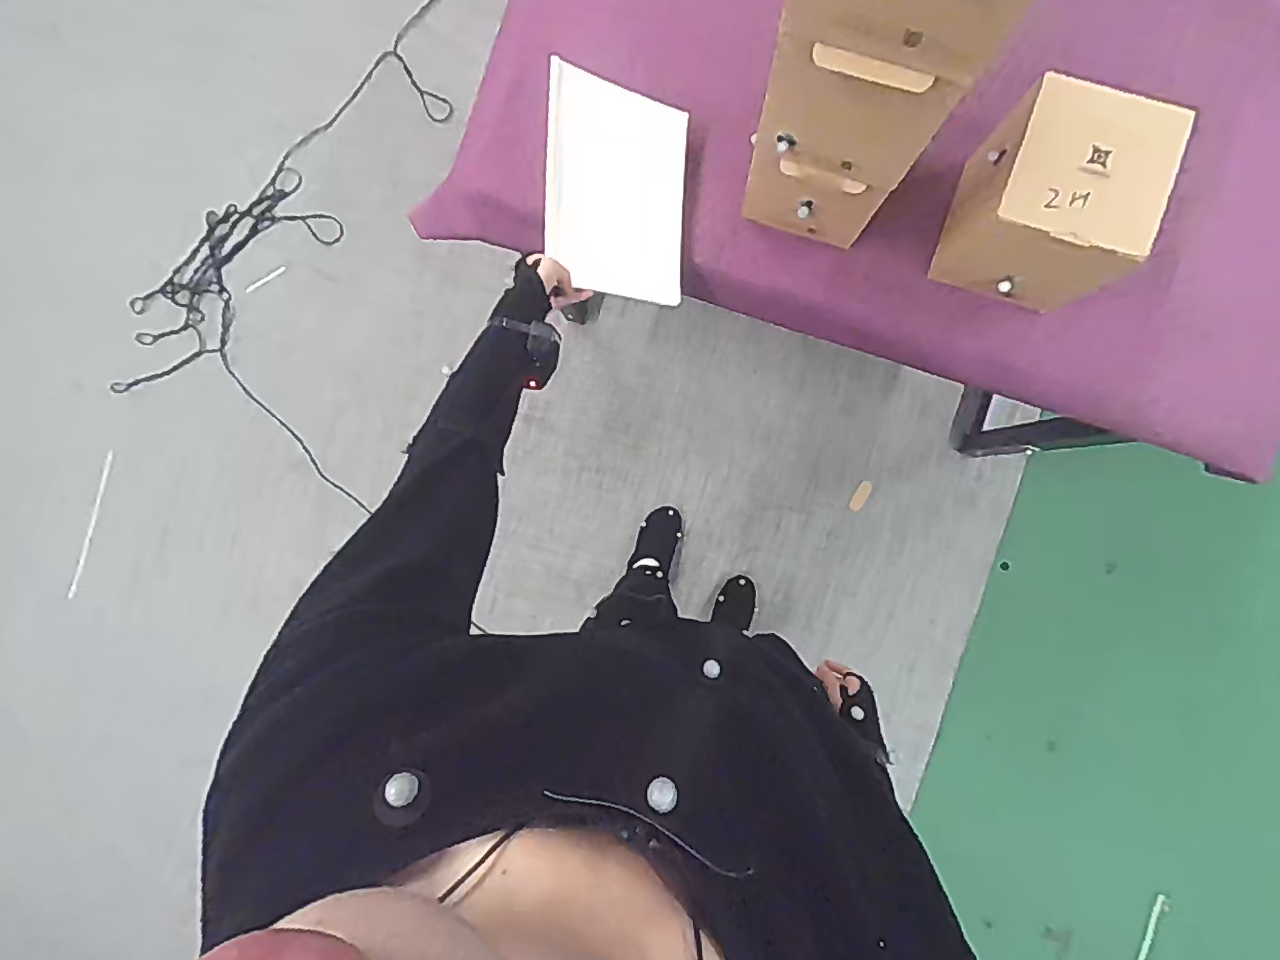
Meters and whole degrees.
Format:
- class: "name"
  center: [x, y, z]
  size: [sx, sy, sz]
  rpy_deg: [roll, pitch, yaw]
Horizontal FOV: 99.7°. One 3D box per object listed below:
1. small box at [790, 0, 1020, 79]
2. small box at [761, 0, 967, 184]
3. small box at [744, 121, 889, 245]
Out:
- class: "small box"
  center: [0.215, -0.432, 0.370]
  size: [0.168, 0.176, 0.179]
  rpy_deg: [21, 90, 3]
- class: "small box"
  center: [0.228, -0.433, 0.533]
  size: [0.168, 0.176, 0.179]
  rpy_deg: [20, 89, 4]
- class: "small box"
  center: [0.241, -0.436, 0.697]
  size: [0.168, 0.176, 0.179]
  rpy_deg: [20, 91, 4]
